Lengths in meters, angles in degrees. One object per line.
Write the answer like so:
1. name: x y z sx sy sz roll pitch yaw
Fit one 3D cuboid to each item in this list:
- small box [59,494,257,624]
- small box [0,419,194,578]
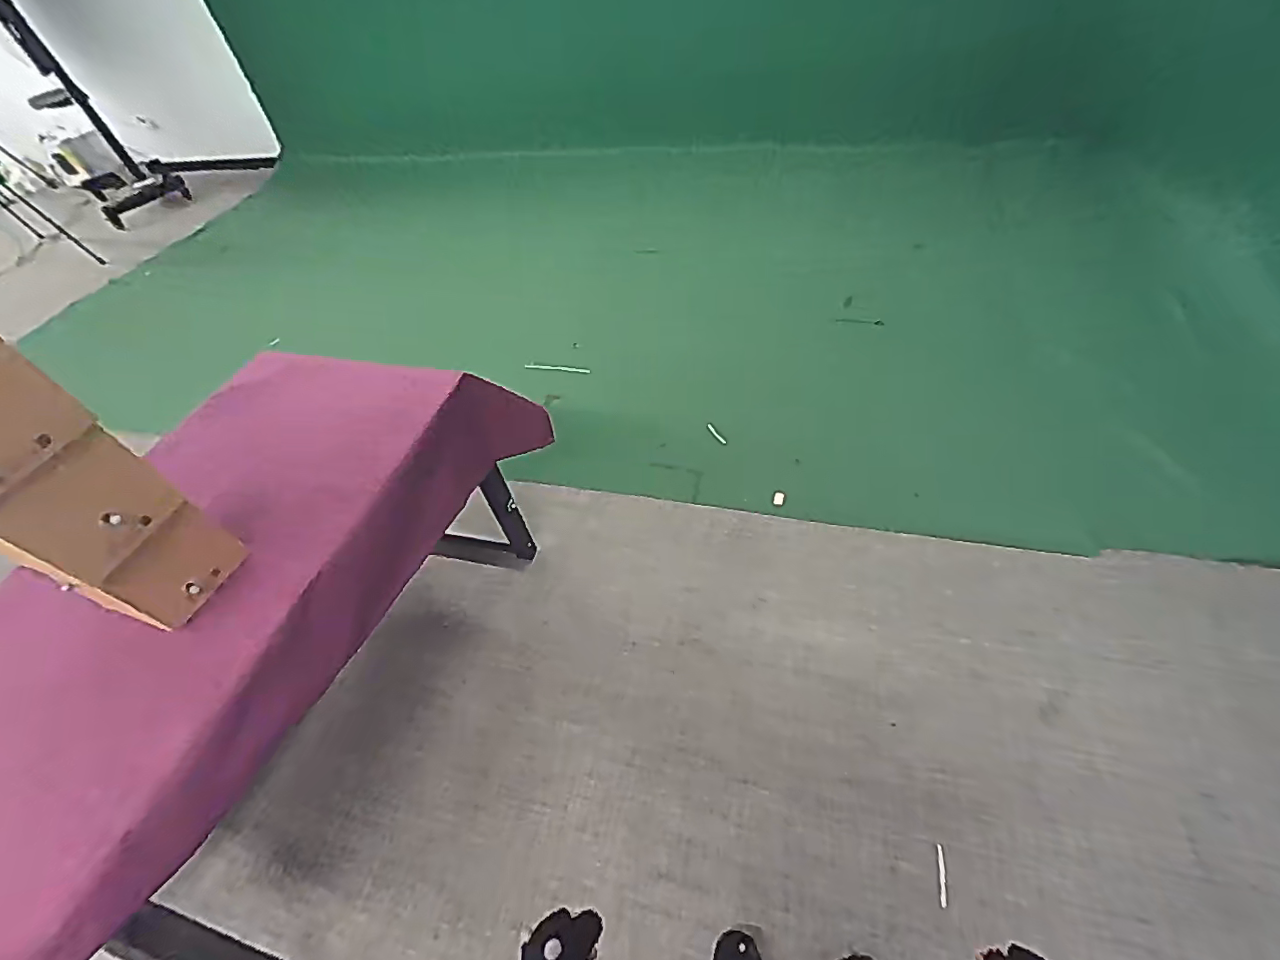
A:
1. small box: -0.801 0.117 0.896 0.179 0.176 0.168 12 53 18
2. small box: -0.807 0.018 0.765 0.179 0.176 0.168 10 53 17
